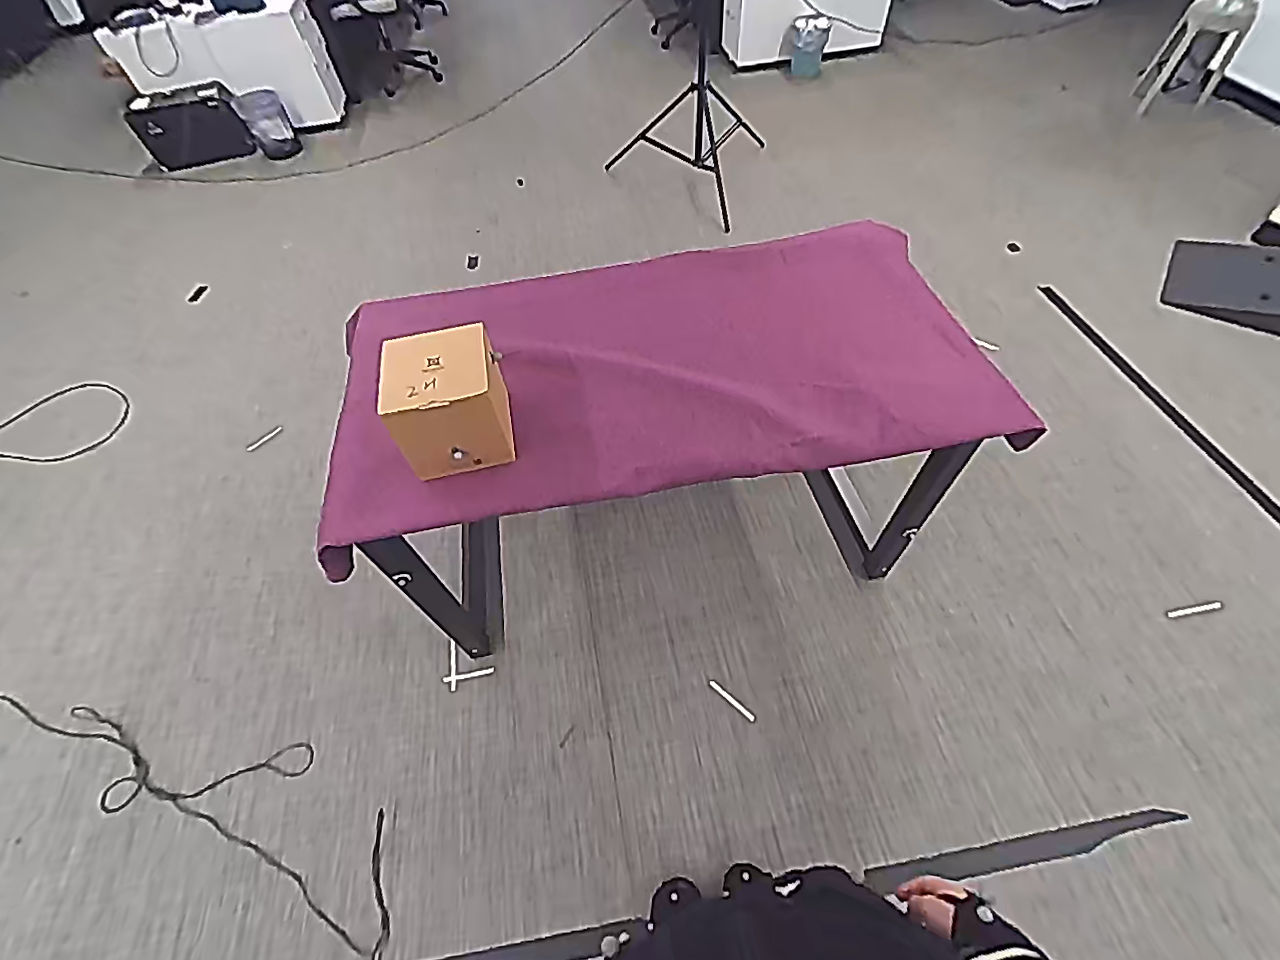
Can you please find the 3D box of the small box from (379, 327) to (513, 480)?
[{"bbox_3d":[-0.320,-0.127,0.917,0.168,0.176,0.179,-13,54,-5],"label":"small box"}]
